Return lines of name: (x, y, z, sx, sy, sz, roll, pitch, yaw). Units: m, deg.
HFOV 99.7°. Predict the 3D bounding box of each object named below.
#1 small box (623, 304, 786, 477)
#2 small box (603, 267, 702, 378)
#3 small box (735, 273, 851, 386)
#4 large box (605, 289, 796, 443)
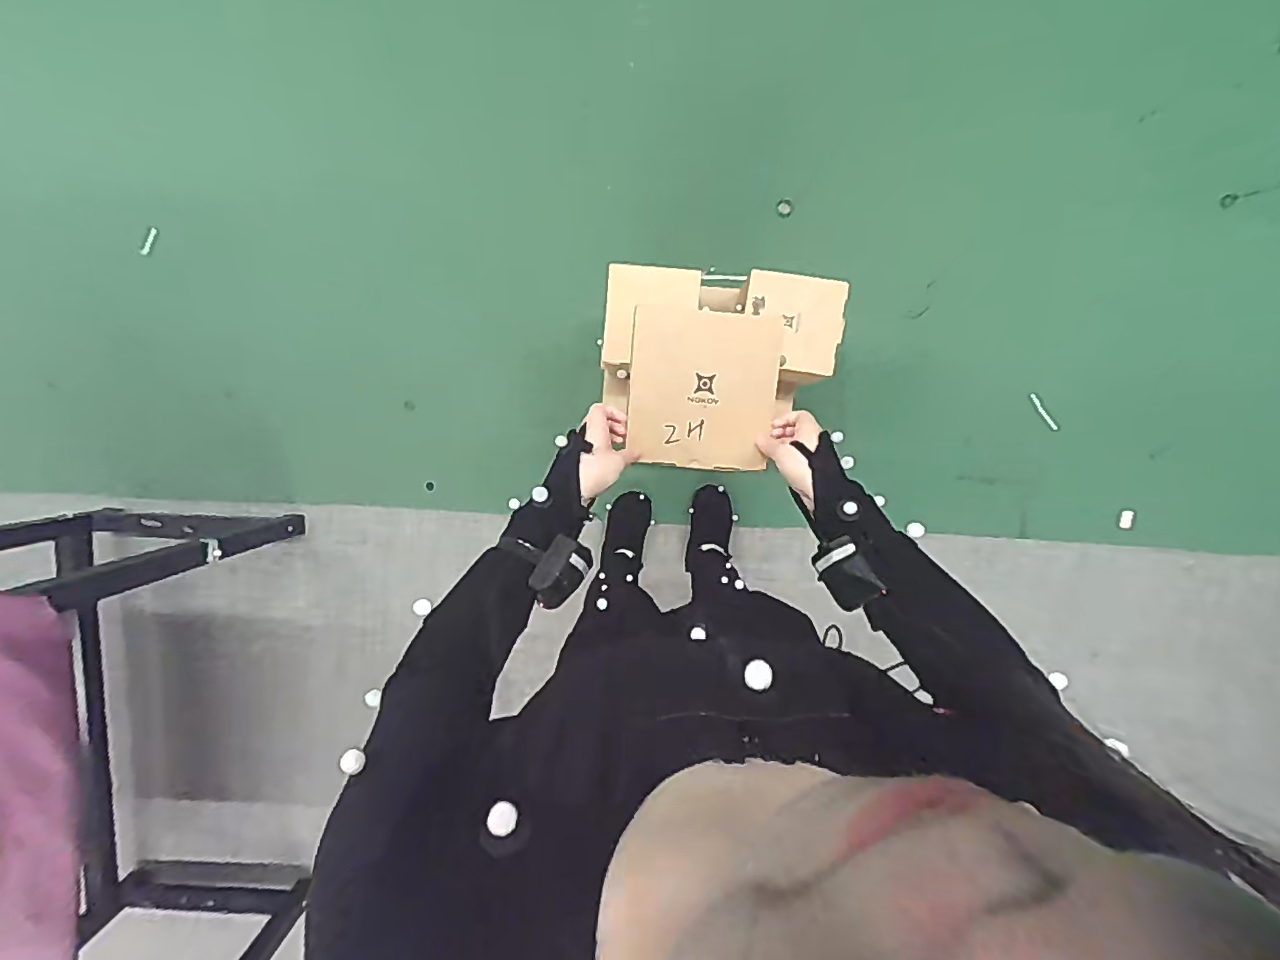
small box: (0.067, -0.108, 0.666, 0.168, 0.176, 0.179, 4, 100, -1)
small box: (0.021, -0.287, 1.029, 0.168, 0.176, 0.179, 4, 96, 0)
small box: (0.270, -0.274, 1.021, 0.179, 0.176, 0.168, 9, 95, 1)
large box: (0.130, -0.255, 1.274, 0.408, 0.320, 0.320, 4, 97, 0)
